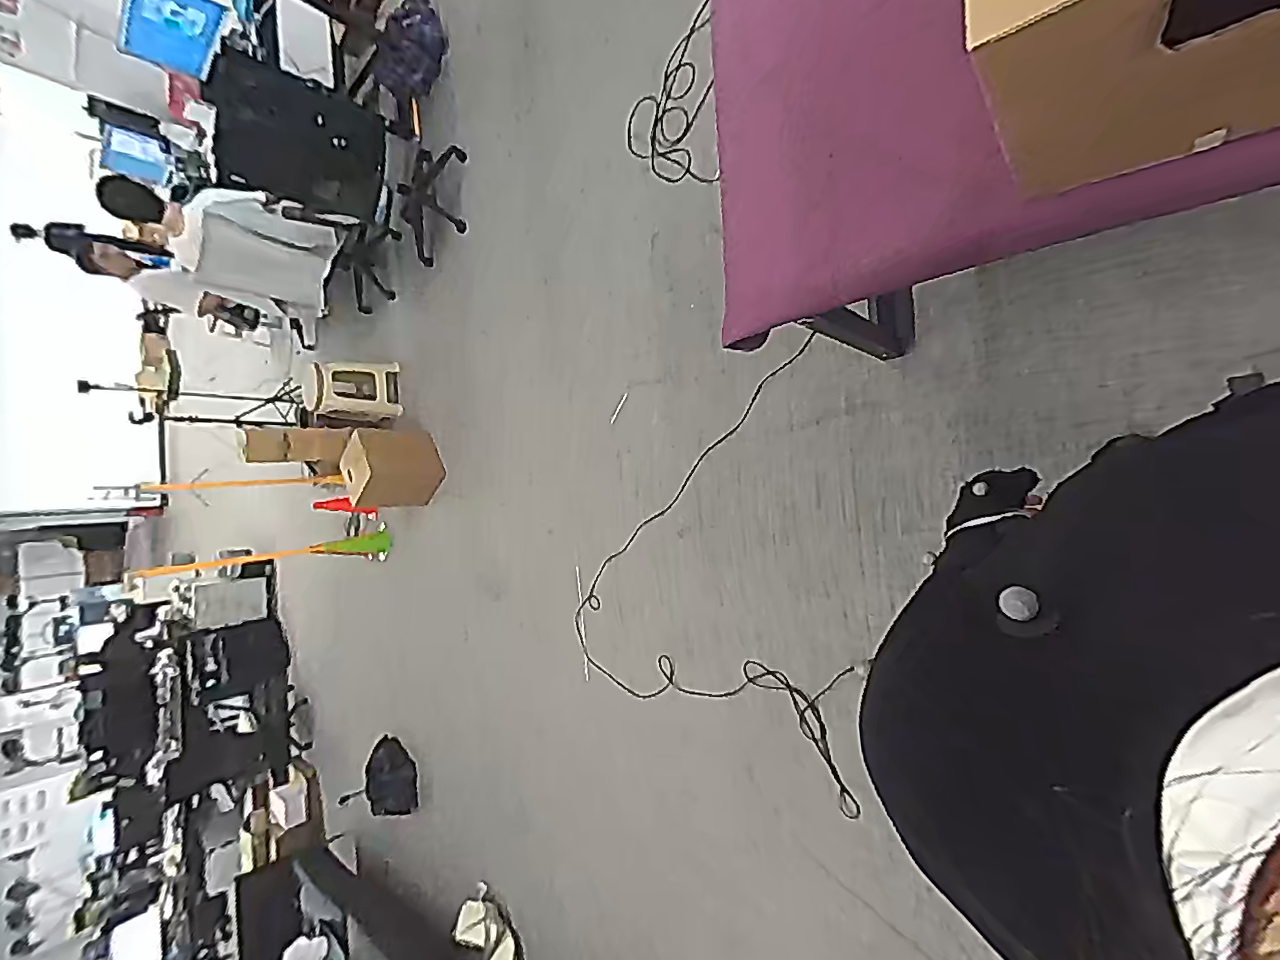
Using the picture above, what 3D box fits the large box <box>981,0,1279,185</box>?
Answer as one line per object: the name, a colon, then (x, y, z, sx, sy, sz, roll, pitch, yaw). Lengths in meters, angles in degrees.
large box: (0.472, -0.546, 0.438, 0.320, 0.320, 0.408, -2, 90, 41)
